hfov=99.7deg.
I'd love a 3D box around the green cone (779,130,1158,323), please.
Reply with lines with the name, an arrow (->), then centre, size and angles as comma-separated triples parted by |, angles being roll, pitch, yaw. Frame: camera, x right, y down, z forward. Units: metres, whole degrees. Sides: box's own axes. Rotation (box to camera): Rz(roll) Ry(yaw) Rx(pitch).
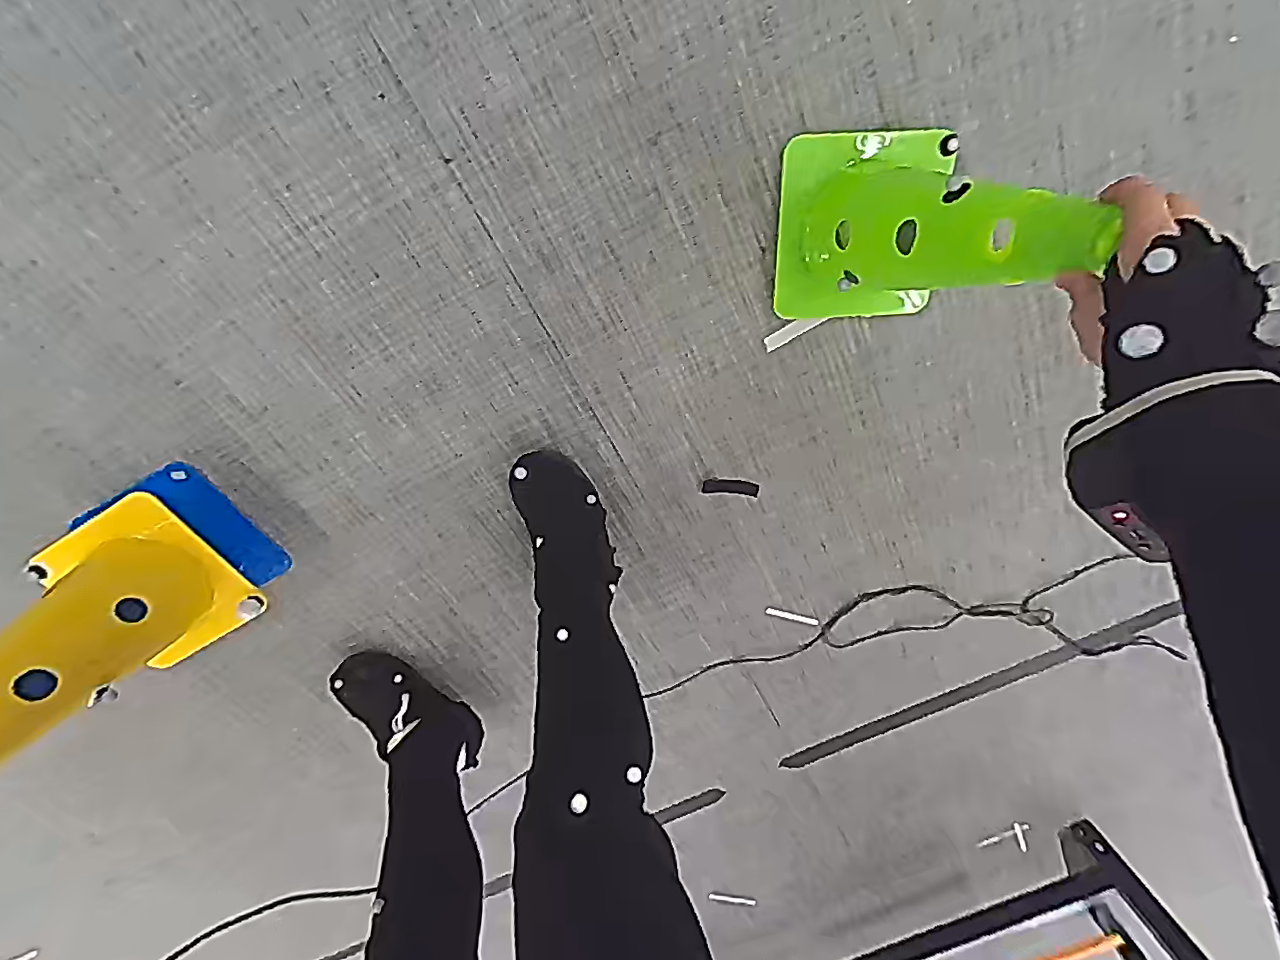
green cone -> 0.278, -0.216, 0.485 | 0.200, 0.368, 0.202 | -4, 117, -2
